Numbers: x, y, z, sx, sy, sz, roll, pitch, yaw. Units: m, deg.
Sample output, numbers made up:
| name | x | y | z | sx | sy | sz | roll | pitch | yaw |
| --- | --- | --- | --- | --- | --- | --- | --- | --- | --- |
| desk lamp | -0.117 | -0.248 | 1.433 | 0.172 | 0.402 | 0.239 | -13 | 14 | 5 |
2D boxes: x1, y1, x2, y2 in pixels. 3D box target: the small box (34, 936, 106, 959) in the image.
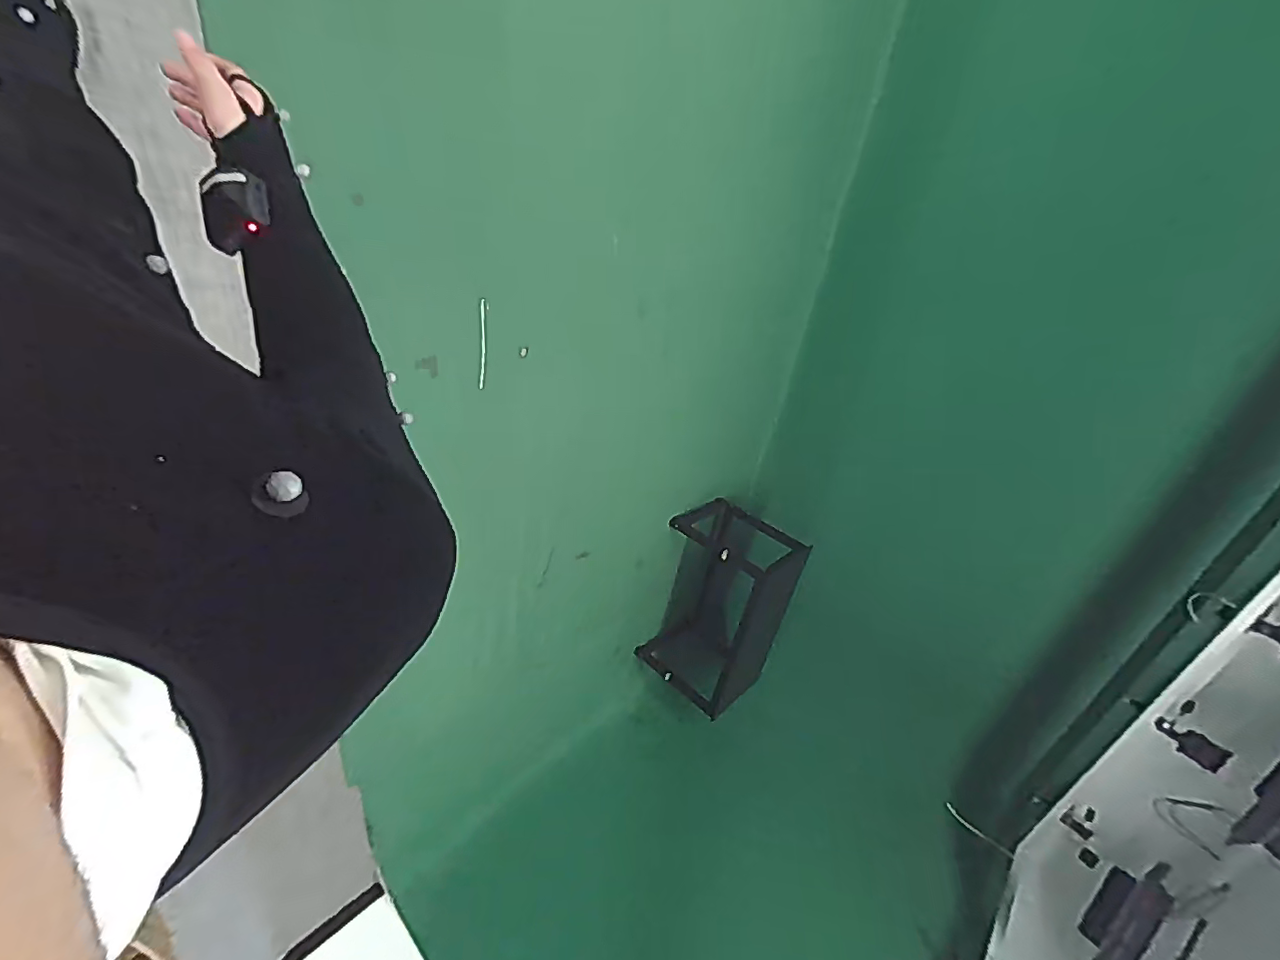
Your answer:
| name | x | y | z | sx | sy | sz | roll | pitch | yaw |
| --- | --- | --- | --- | --- | --- | --- | --- | --- | --- |
| small box | -1.345 | 1.200 | 1.231 | 0.168 | 0.176 | 0.179 | -29 | 138 | -39 |
